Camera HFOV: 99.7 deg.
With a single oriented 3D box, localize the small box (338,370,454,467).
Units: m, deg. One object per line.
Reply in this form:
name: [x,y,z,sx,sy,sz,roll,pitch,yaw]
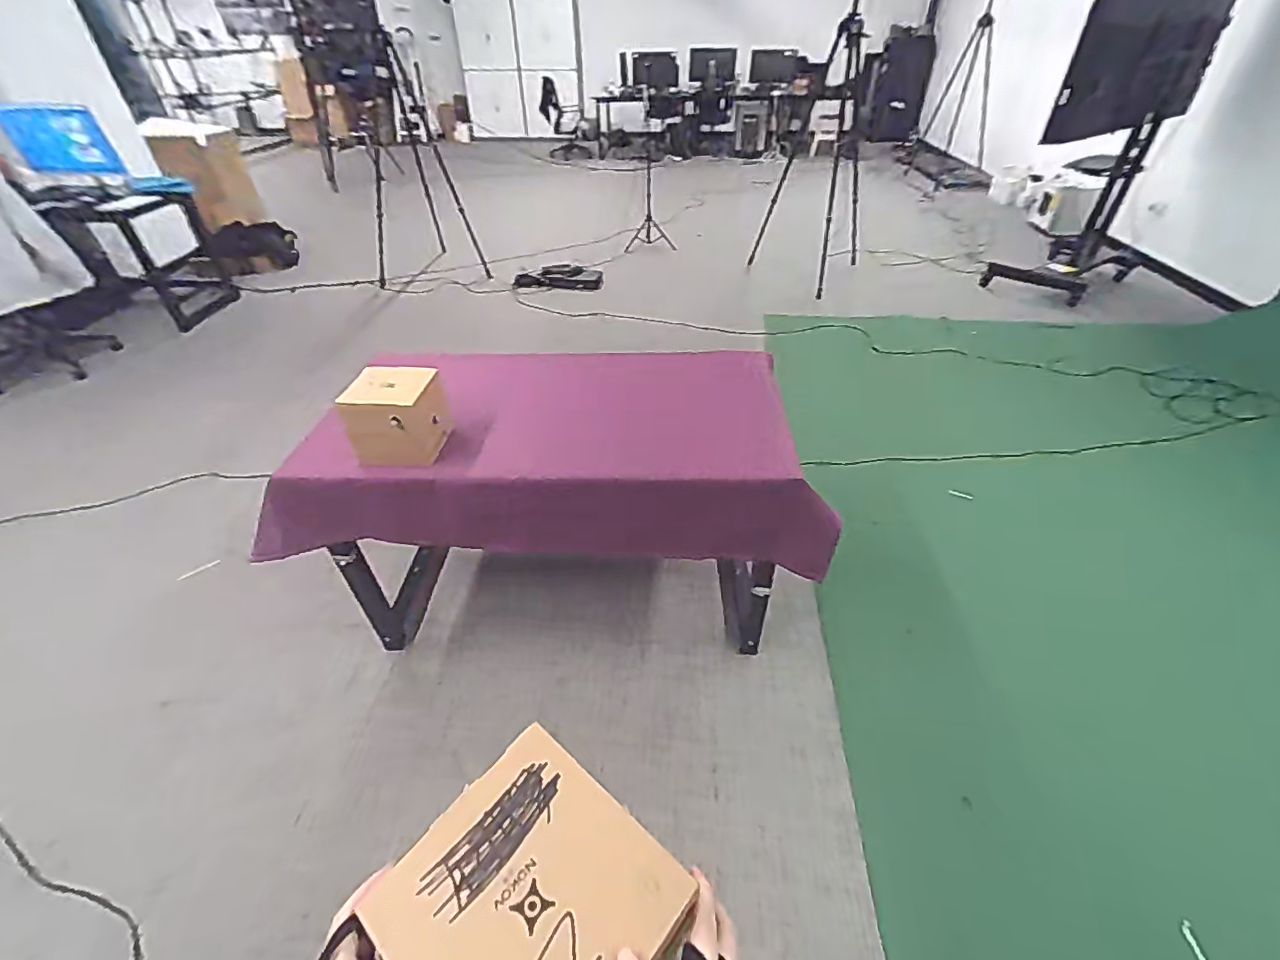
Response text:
small box: [-0.561,-0.143,1.274,0.179,0.176,0.168,2,39,4]
